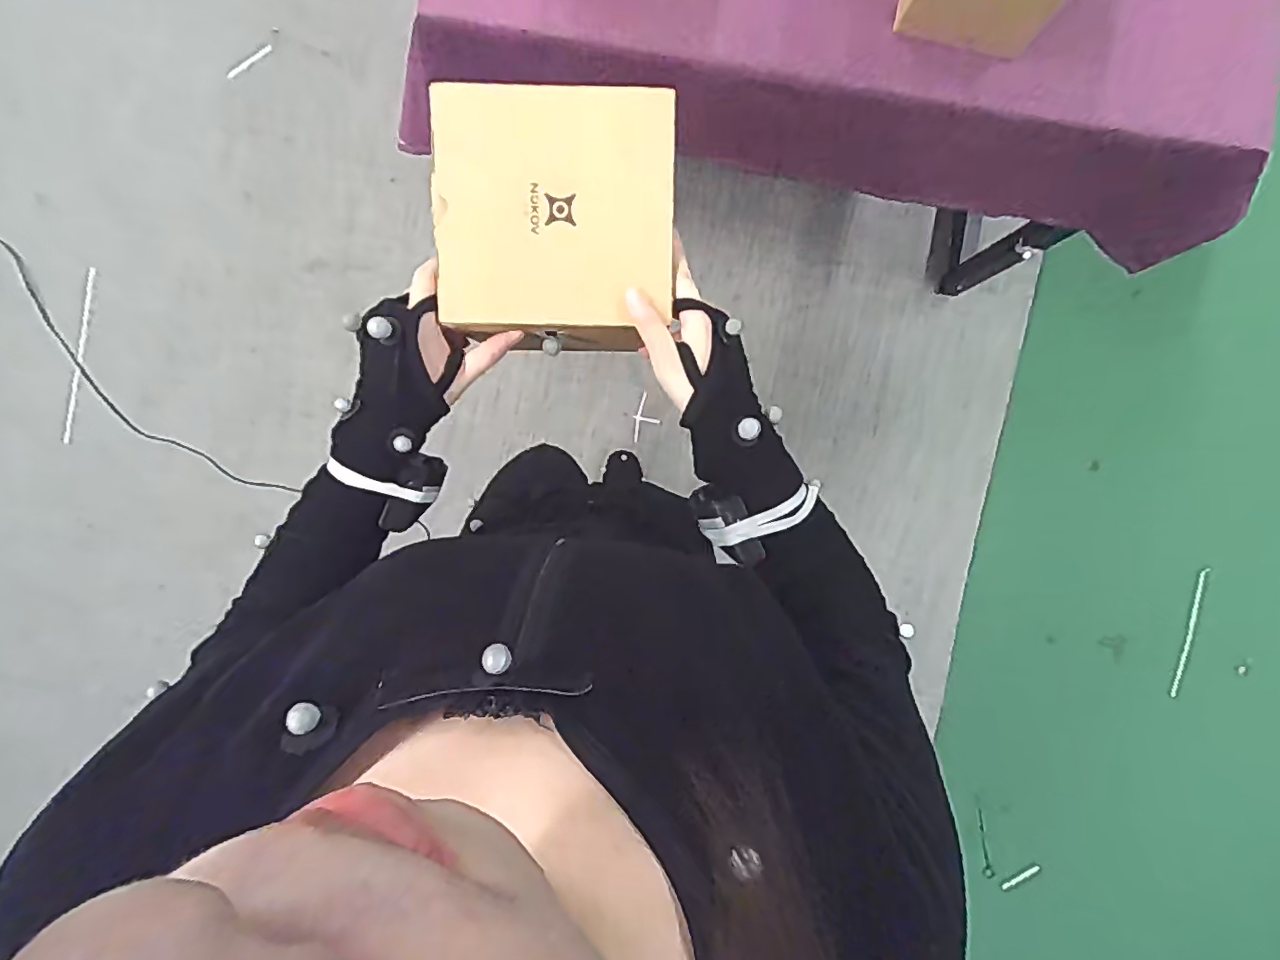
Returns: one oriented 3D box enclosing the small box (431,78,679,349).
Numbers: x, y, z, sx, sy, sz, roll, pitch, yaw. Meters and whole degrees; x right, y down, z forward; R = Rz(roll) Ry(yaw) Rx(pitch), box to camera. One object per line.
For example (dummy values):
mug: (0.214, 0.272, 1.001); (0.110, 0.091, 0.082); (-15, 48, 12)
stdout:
small box: (-0.062, -0.208, 0.468); (0.179, 0.176, 0.168); (1, 97, -1)

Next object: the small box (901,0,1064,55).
small box: (0.454, -0.673, 0.663); (0.179, 0.176, 0.168); (13, 93, -1)
